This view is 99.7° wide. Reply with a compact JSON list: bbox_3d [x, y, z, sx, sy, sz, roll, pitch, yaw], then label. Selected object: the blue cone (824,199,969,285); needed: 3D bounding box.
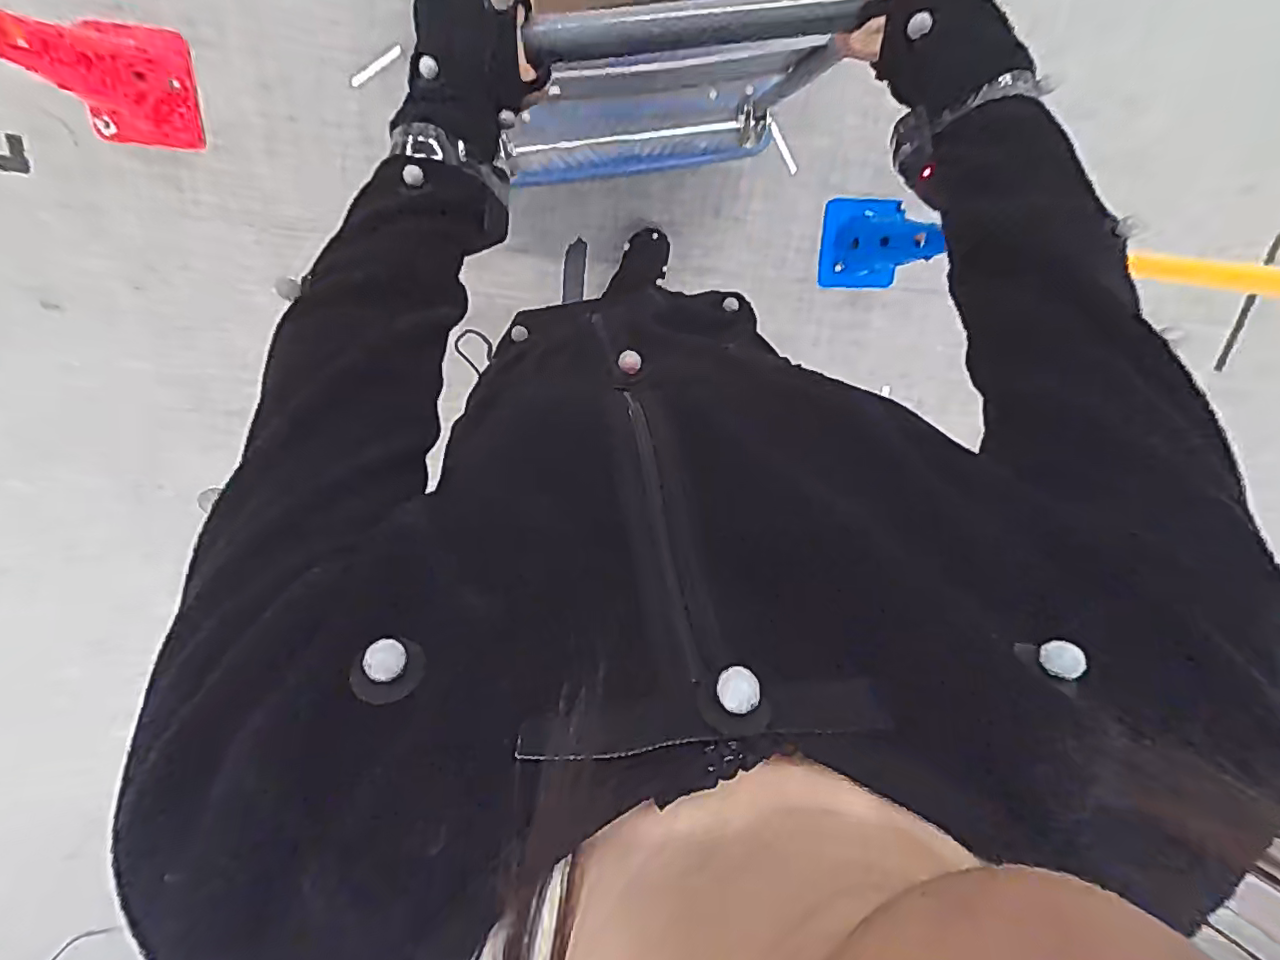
[{"bbox_3d":[0.560,-0.514,1.157,0.193,0.380,0.192,-1,111,-7],"label":"blue cone"}]
